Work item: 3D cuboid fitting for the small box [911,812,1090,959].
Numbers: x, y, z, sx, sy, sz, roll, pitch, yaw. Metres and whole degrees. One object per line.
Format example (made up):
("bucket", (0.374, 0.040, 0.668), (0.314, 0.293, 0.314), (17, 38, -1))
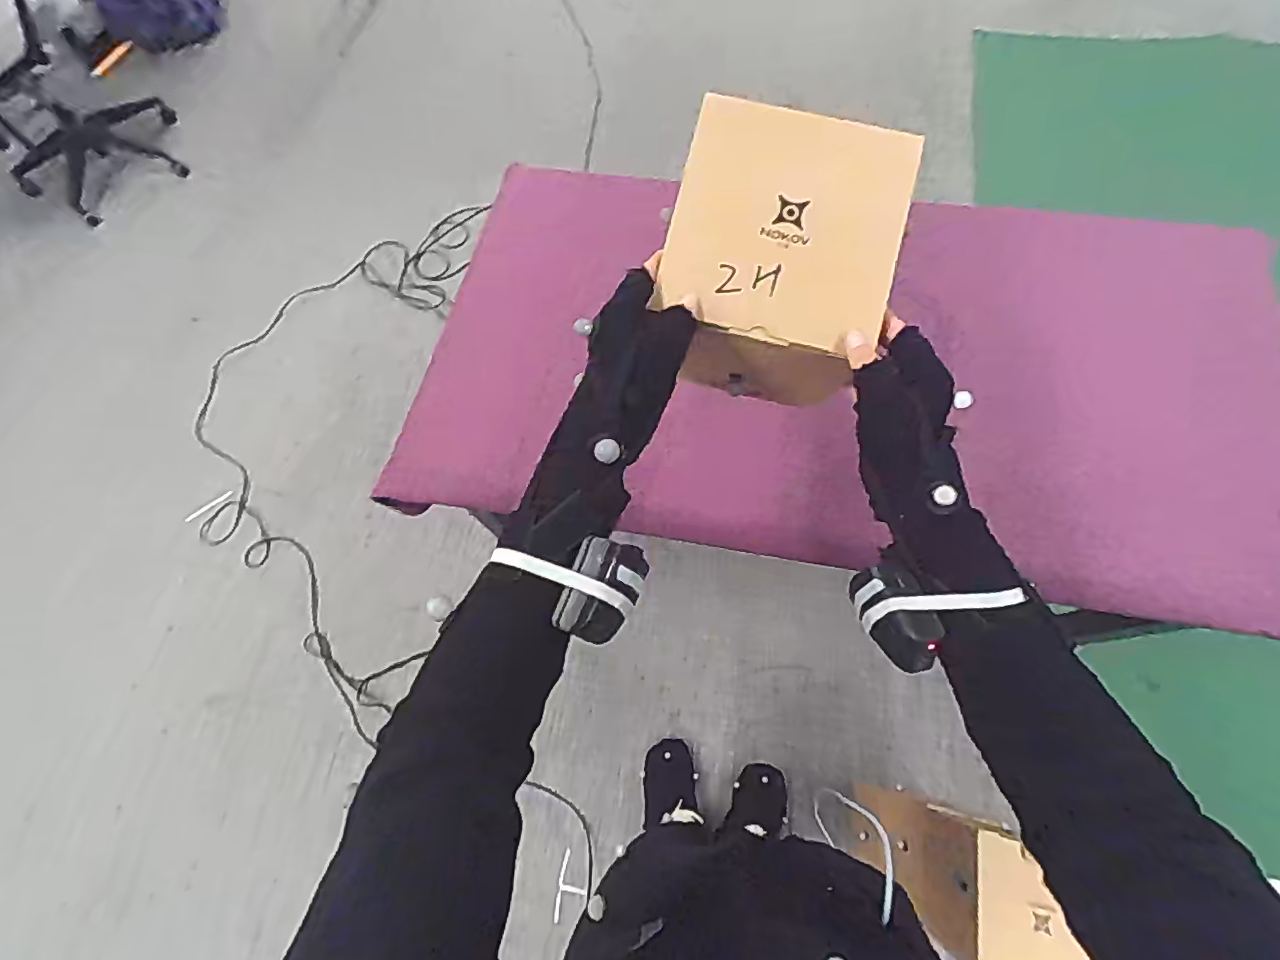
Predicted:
("small box", (0.523, 0.625, 0.805), (0.168, 0.176, 0.179), (12, 68, 8))

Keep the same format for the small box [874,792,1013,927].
("small box", (0.529, 0.680, 0.957), (0.168, 0.176, 0.179), (13, 68, 8))

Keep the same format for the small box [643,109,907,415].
("small box", (0.103, -0.173, 0.481), (0.168, 0.176, 0.179), (15, 86, 3))
